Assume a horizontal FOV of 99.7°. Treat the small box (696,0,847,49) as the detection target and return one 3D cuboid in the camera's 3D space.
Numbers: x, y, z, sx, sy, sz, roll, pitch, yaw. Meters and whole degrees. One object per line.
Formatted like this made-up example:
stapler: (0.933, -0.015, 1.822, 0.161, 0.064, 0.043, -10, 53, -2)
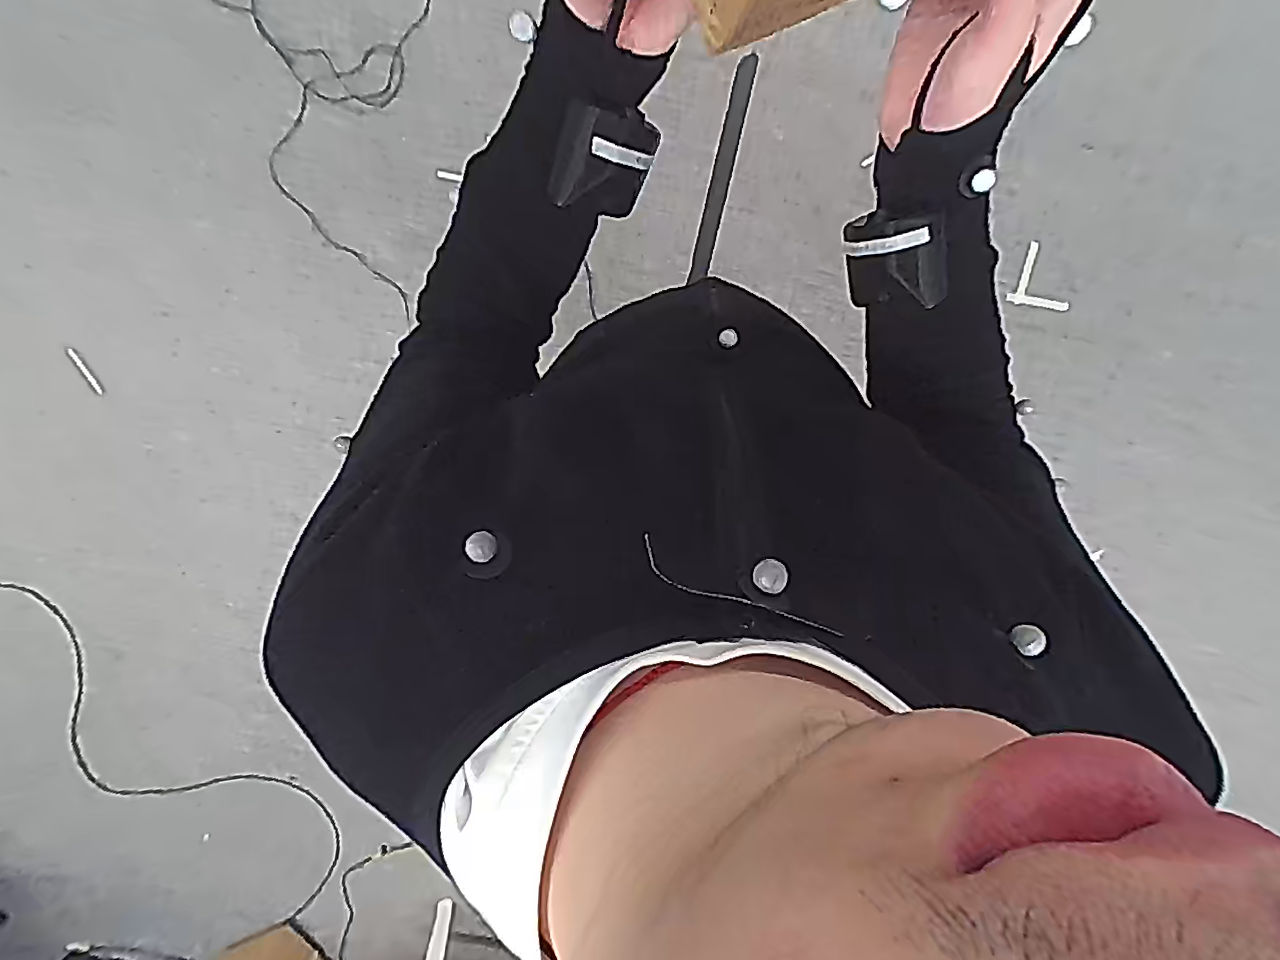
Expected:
small box: (0.084, -0.287, 0.159, 0.168, 0.176, 0.179, -25, 110, 1)
